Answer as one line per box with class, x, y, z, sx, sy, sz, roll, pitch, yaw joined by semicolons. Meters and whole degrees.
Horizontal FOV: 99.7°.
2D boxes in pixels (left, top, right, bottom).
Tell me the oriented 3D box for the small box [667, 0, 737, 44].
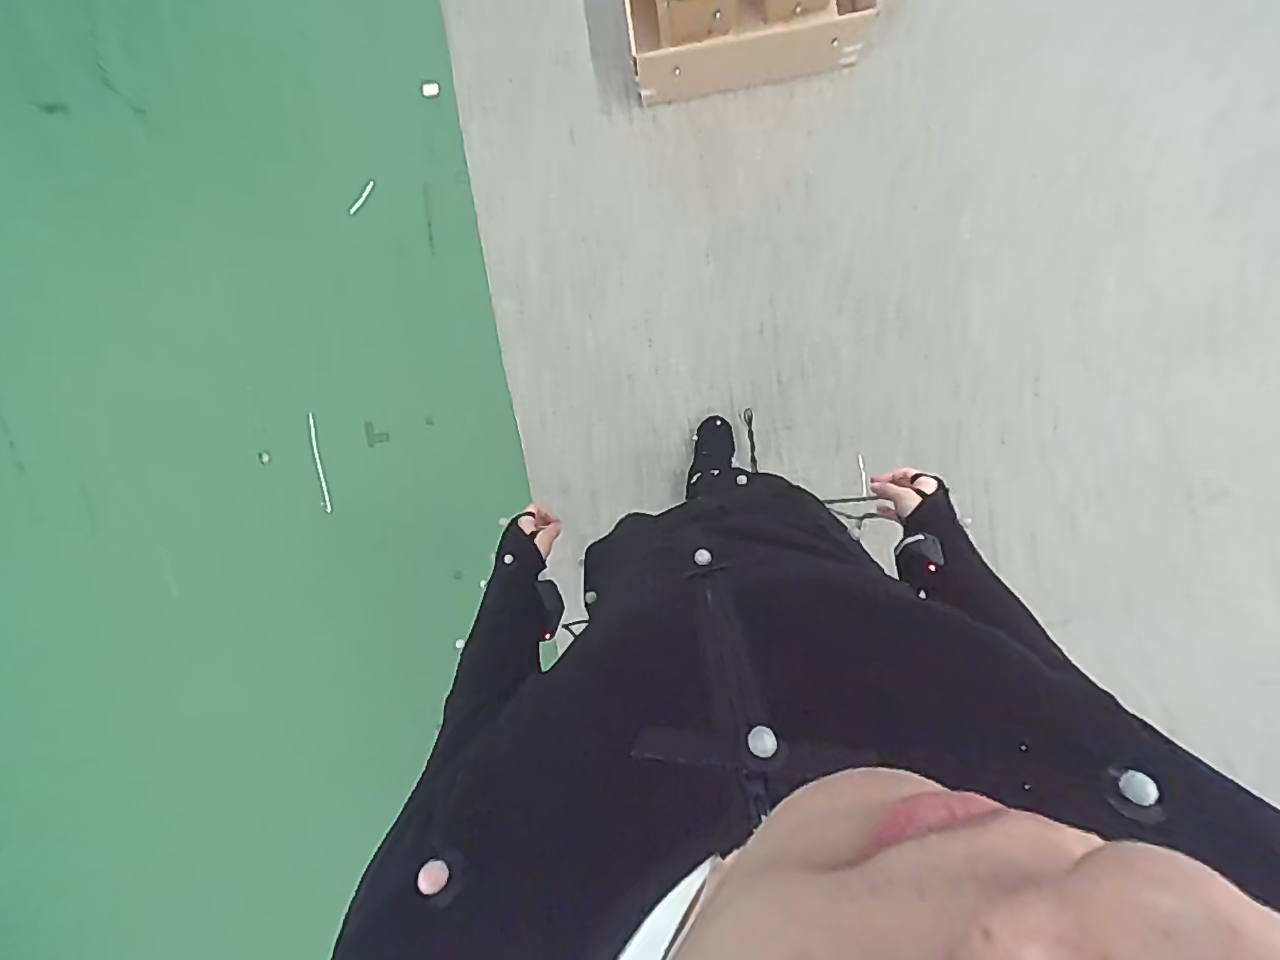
small box;0.157;-1.268;1.388;0.168;0.176;0.179;-9;93;4
